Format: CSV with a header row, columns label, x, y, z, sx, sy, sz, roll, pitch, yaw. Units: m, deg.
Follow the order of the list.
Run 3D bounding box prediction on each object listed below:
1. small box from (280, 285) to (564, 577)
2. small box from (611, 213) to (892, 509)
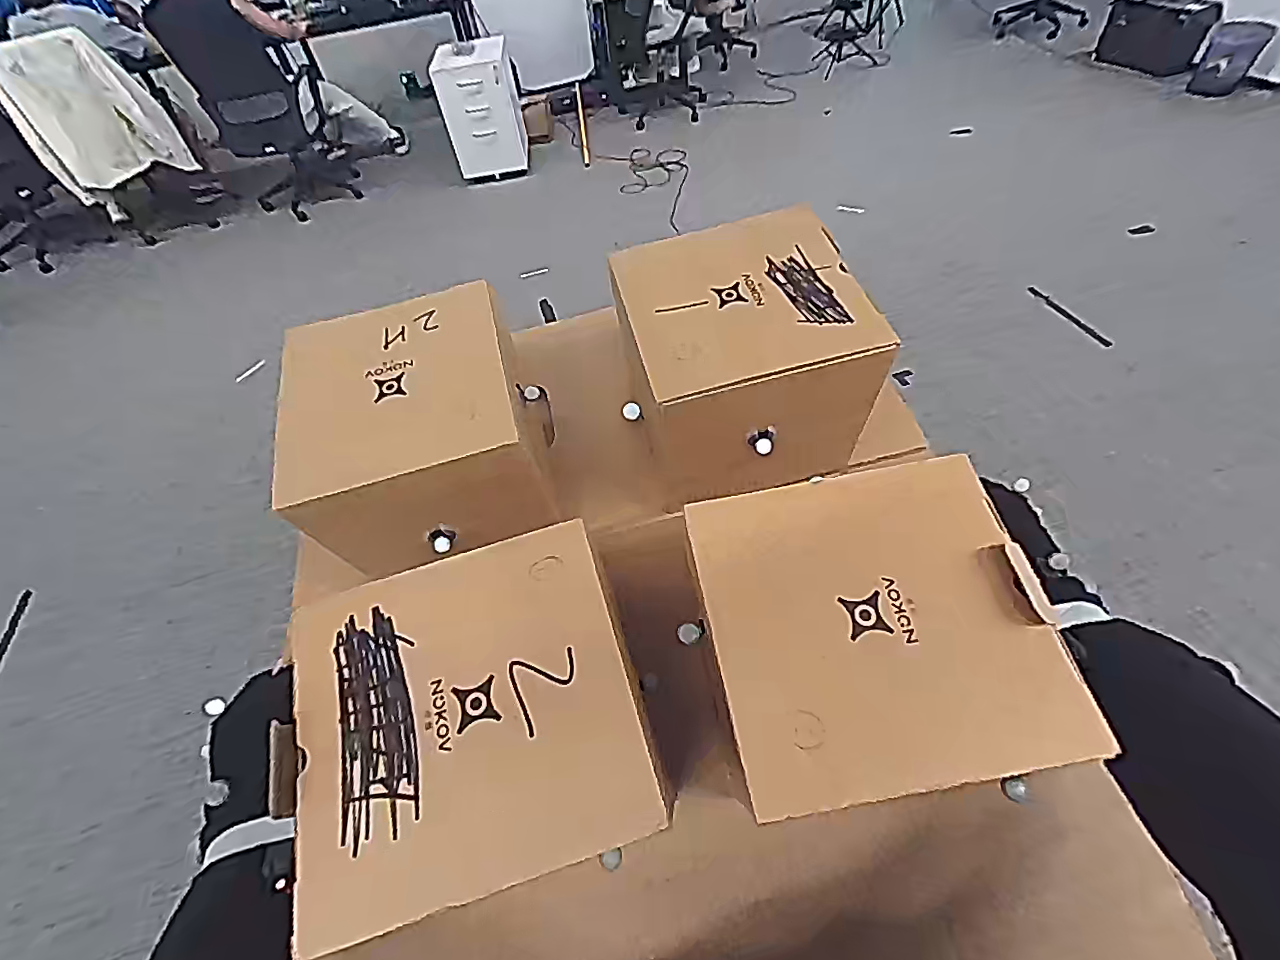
label,x,y,z,sx,sy,sz,roll,pitch,yaw
small box,-0.172,-0.030,0.470,0.168,0.176,0.179,-15,59,-3
small box,0.083,-0.096,0.479,0.179,0.176,0.168,-14,59,-1
